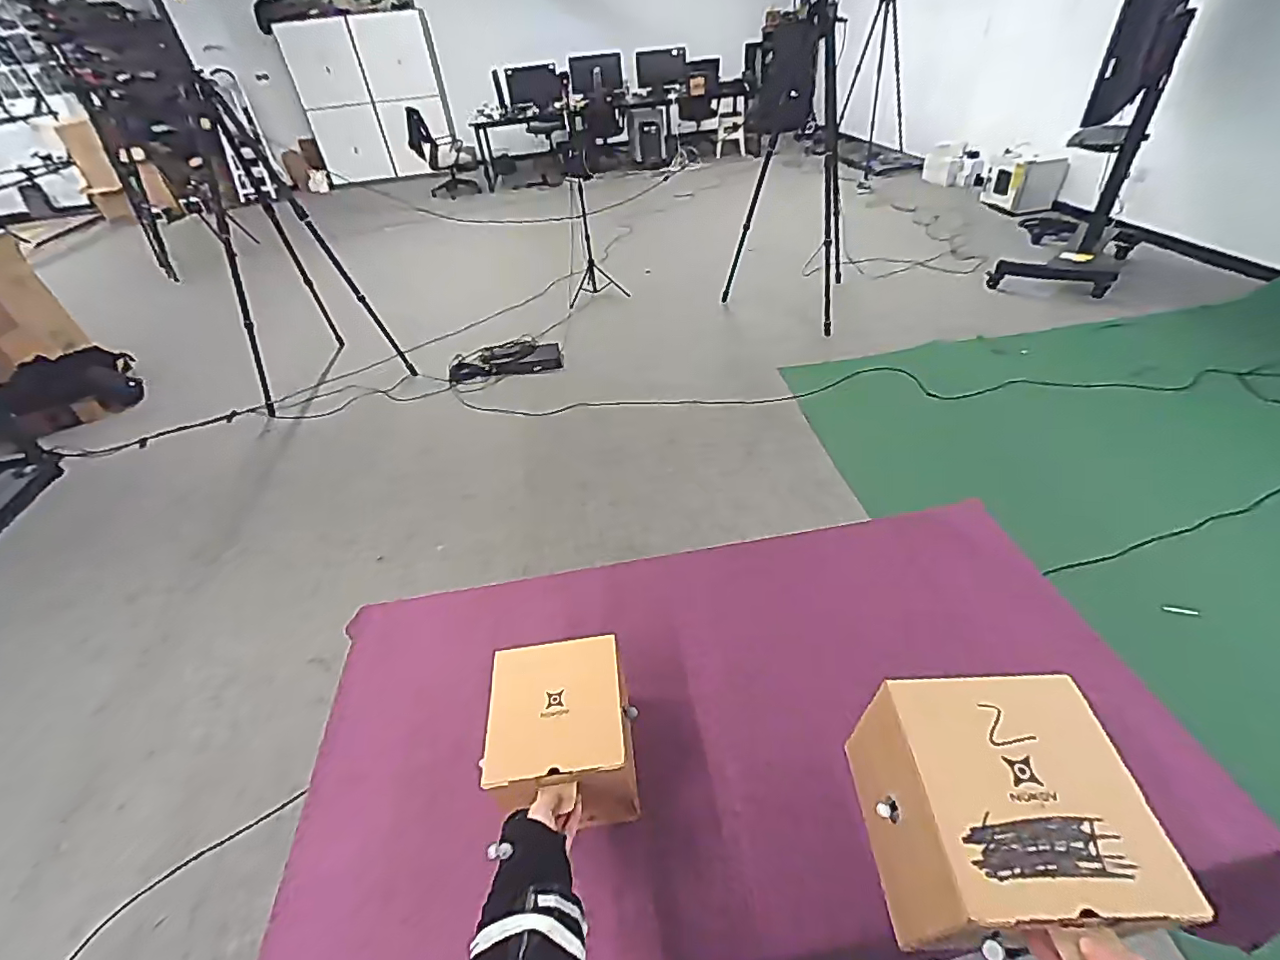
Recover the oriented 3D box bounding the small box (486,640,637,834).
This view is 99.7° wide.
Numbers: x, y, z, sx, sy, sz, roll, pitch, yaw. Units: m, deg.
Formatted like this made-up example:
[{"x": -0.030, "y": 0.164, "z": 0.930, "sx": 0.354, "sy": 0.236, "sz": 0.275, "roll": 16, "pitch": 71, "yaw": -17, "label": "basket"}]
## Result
[{"x": -0.099, "y": 0.347, "z": 0.736, "sx": 0.168, "sy": 0.176, "sz": 0.179, "roll": -8, "pitch": 41, "yaw": -2, "label": "small box"}]
